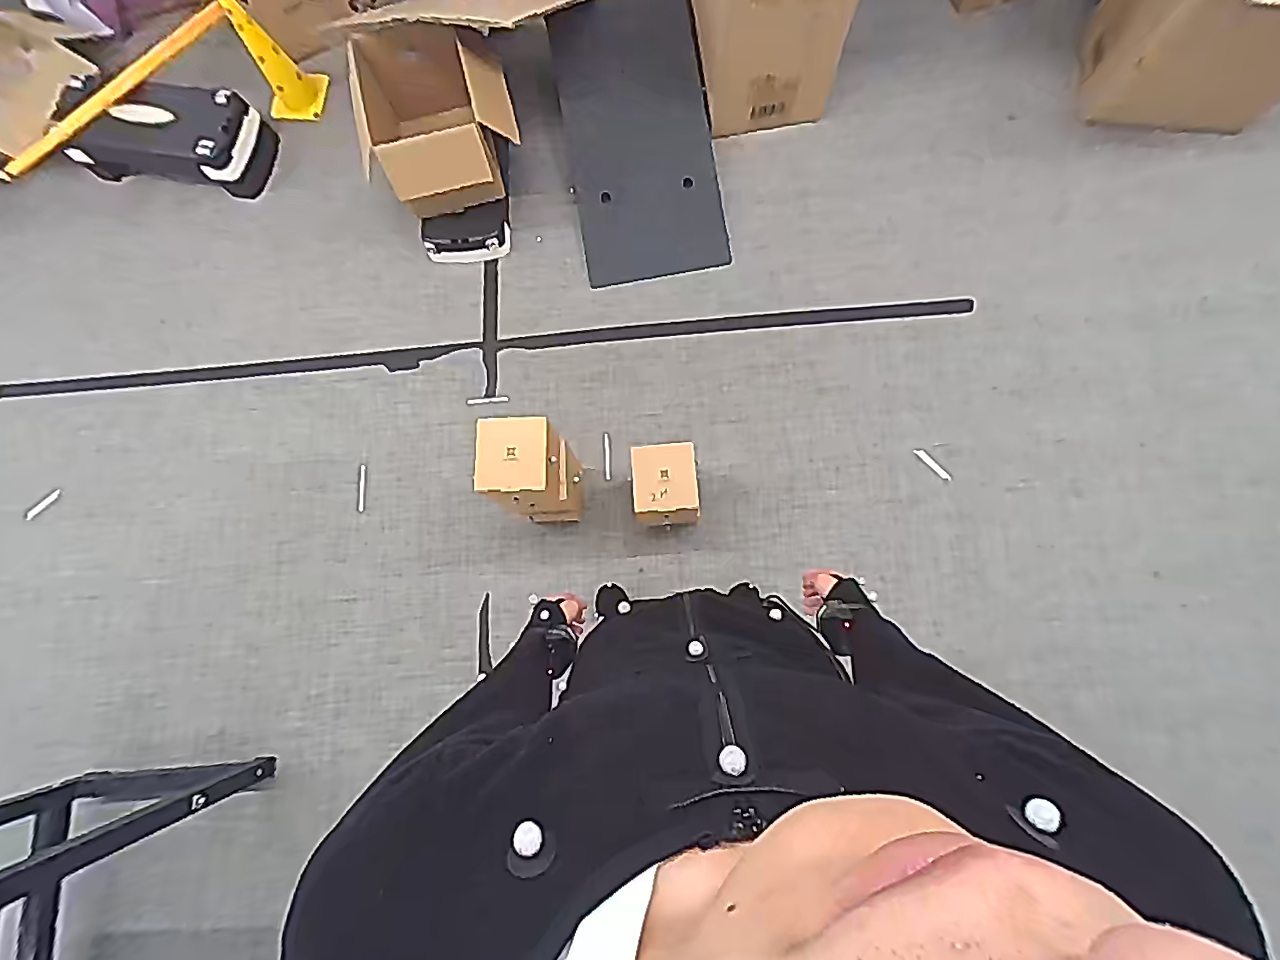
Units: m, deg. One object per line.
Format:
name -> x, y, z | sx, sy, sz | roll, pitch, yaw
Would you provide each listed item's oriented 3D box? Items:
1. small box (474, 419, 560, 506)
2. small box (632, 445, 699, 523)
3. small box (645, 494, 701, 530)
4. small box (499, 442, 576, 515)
small box -> -0.291, -0.038, 1.308 | 0.168, 0.176, 0.179 | -2, 79, 2
small box -> 0.067, 0.015, 1.449 | 0.168, 0.176, 0.179 | -5, 79, 3
small box -> 0.087, 0.048, 1.609 | 0.168, 0.176, 0.179 | -6, 79, 3
small box -> -0.273, 0.000, 1.466 | 0.179, 0.176, 0.168 | -3, 78, 1
